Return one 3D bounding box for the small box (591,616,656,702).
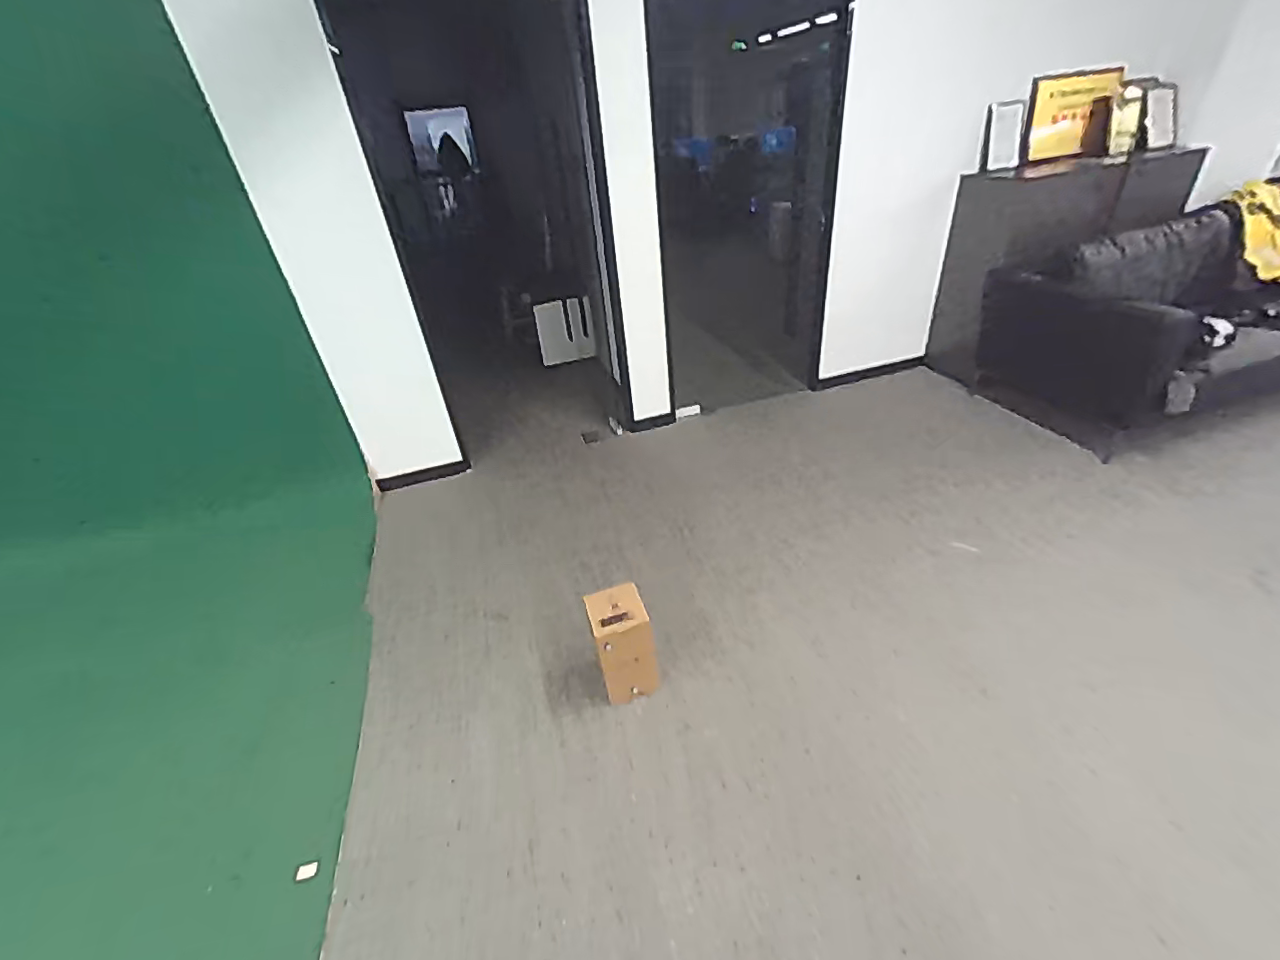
[{"bbox_3d":[-0.054,0.576,1.740,0.168,0.176,0.179,-14,36,-10],"label":"small box"}]
